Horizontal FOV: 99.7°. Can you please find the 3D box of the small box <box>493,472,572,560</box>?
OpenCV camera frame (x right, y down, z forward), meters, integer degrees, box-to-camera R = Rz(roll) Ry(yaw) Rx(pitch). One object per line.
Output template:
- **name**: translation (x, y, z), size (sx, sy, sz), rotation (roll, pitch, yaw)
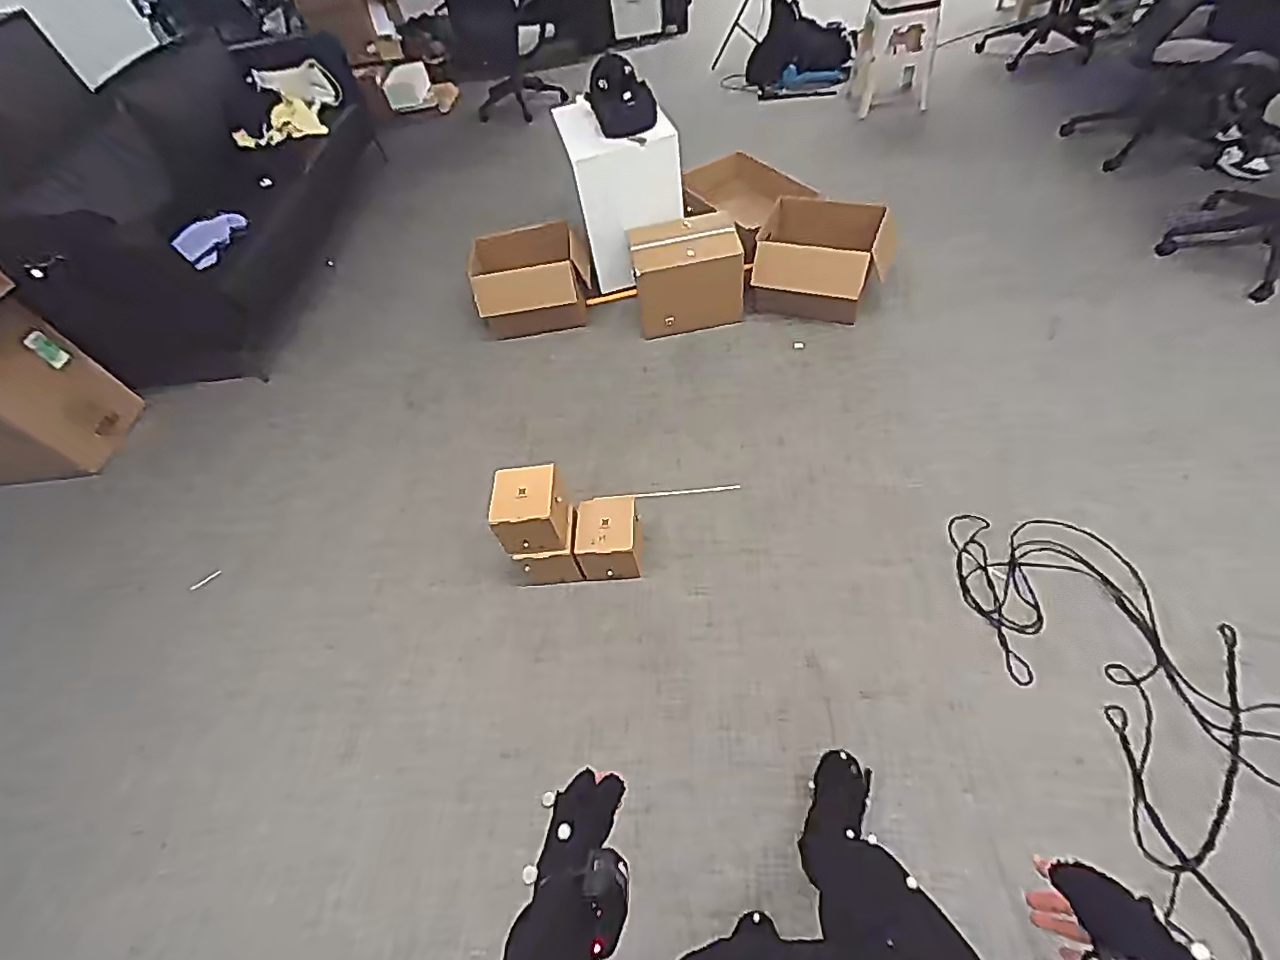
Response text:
- **small box**: translation (-0.287, 0.100, 1.490), size (0.168, 0.176, 0.179), rotation (-6, 53, 5)
